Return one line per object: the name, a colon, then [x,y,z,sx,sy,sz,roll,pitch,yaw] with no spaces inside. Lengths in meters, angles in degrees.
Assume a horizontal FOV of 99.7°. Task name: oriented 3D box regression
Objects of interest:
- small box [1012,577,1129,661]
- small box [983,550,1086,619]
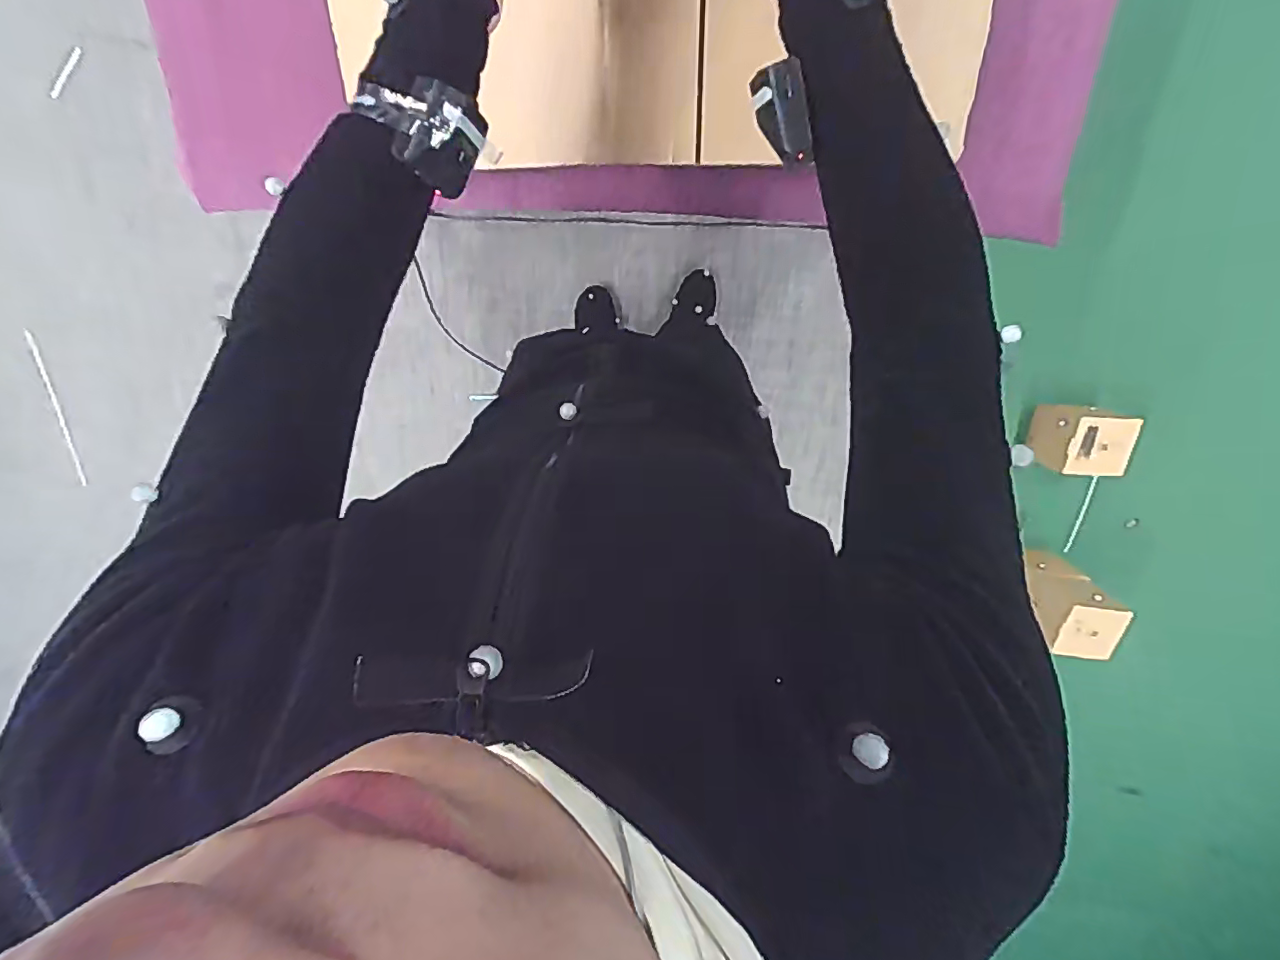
small box: [1.248,0.402,1.581,0.179,0.176,0.168,8,112,-2]
small box: [1.254,0.339,1.733,0.179,0.176,0.168,6,112,-2]
